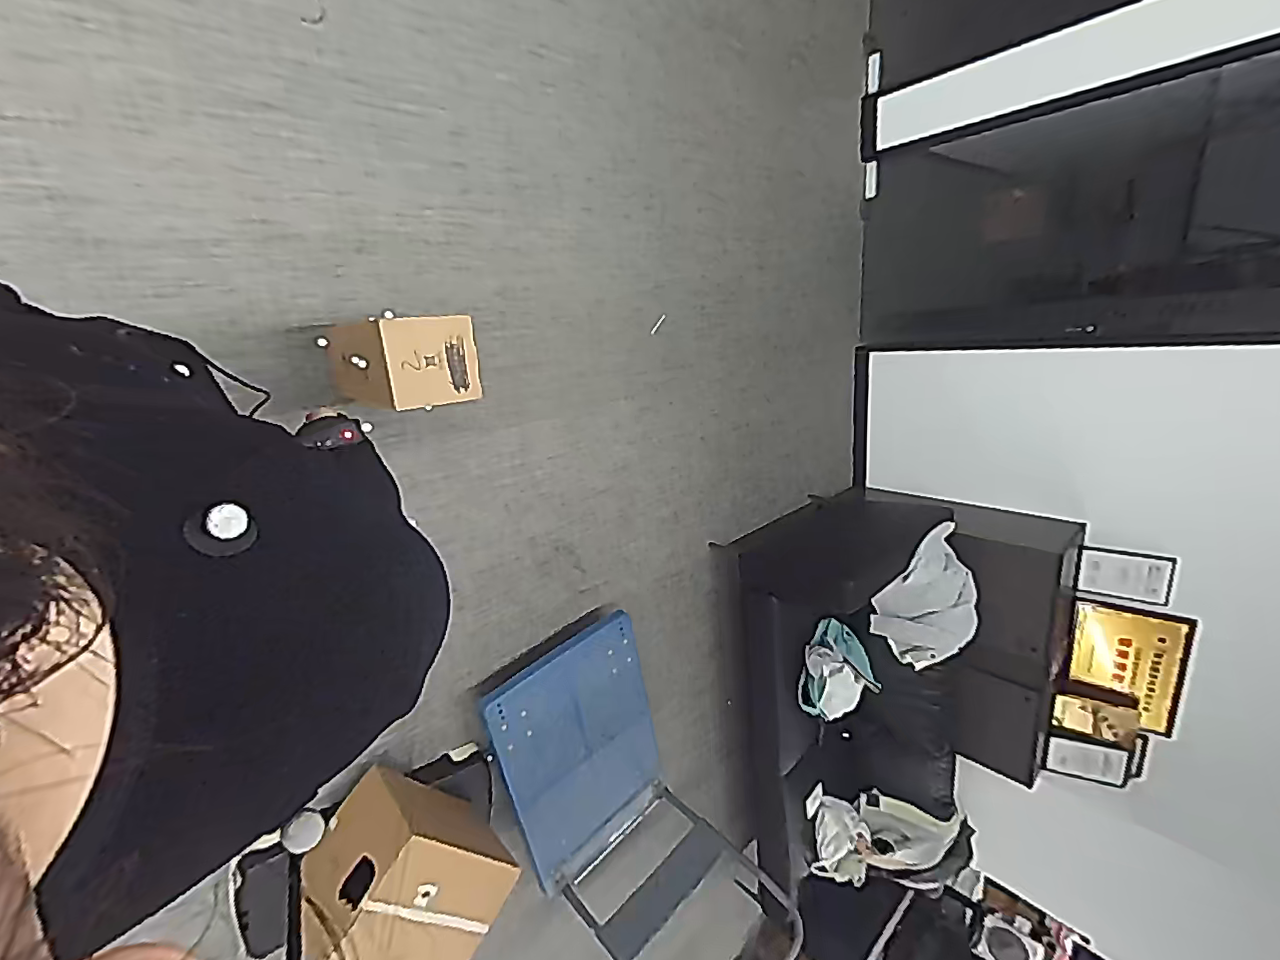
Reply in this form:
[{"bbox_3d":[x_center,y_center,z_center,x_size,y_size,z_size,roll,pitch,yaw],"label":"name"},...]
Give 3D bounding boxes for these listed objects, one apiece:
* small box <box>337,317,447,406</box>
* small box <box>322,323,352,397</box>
[{"bbox_3d":[-0.554,-0.267,1.204,0.168,0.176,0.179,-17,111,-39],"label":"small box"},{"bbox_3d":[-0.660,-0.298,1.326,0.179,0.176,0.168,-18,112,-40],"label":"small box"}]
